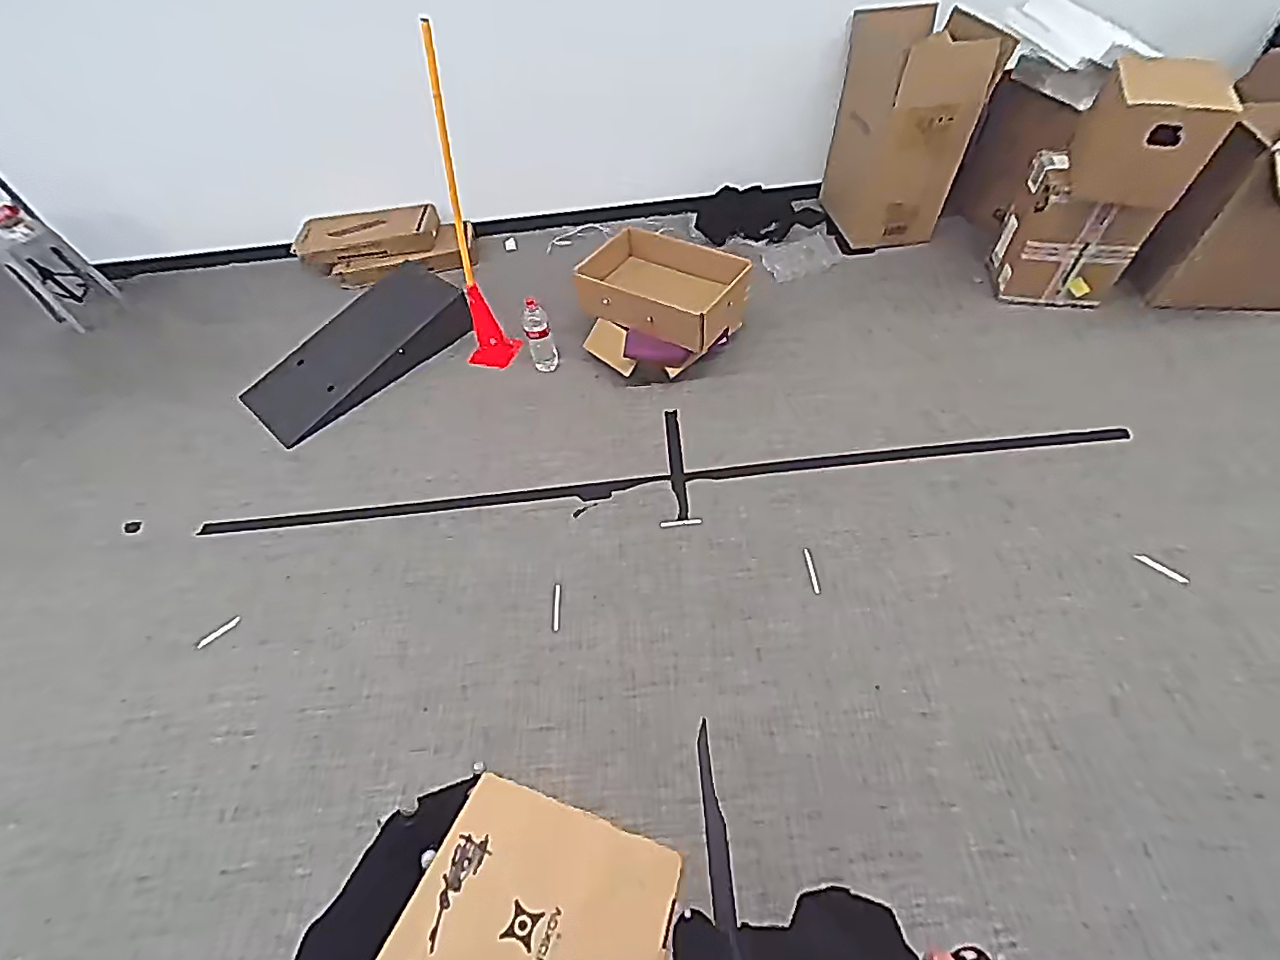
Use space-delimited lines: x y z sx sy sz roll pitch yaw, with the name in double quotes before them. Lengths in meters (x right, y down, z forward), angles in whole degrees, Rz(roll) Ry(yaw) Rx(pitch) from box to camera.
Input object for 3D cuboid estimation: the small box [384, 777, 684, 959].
"small box" -0.083 0.376 0.415 0.179 0.176 0.168 17 35 10
